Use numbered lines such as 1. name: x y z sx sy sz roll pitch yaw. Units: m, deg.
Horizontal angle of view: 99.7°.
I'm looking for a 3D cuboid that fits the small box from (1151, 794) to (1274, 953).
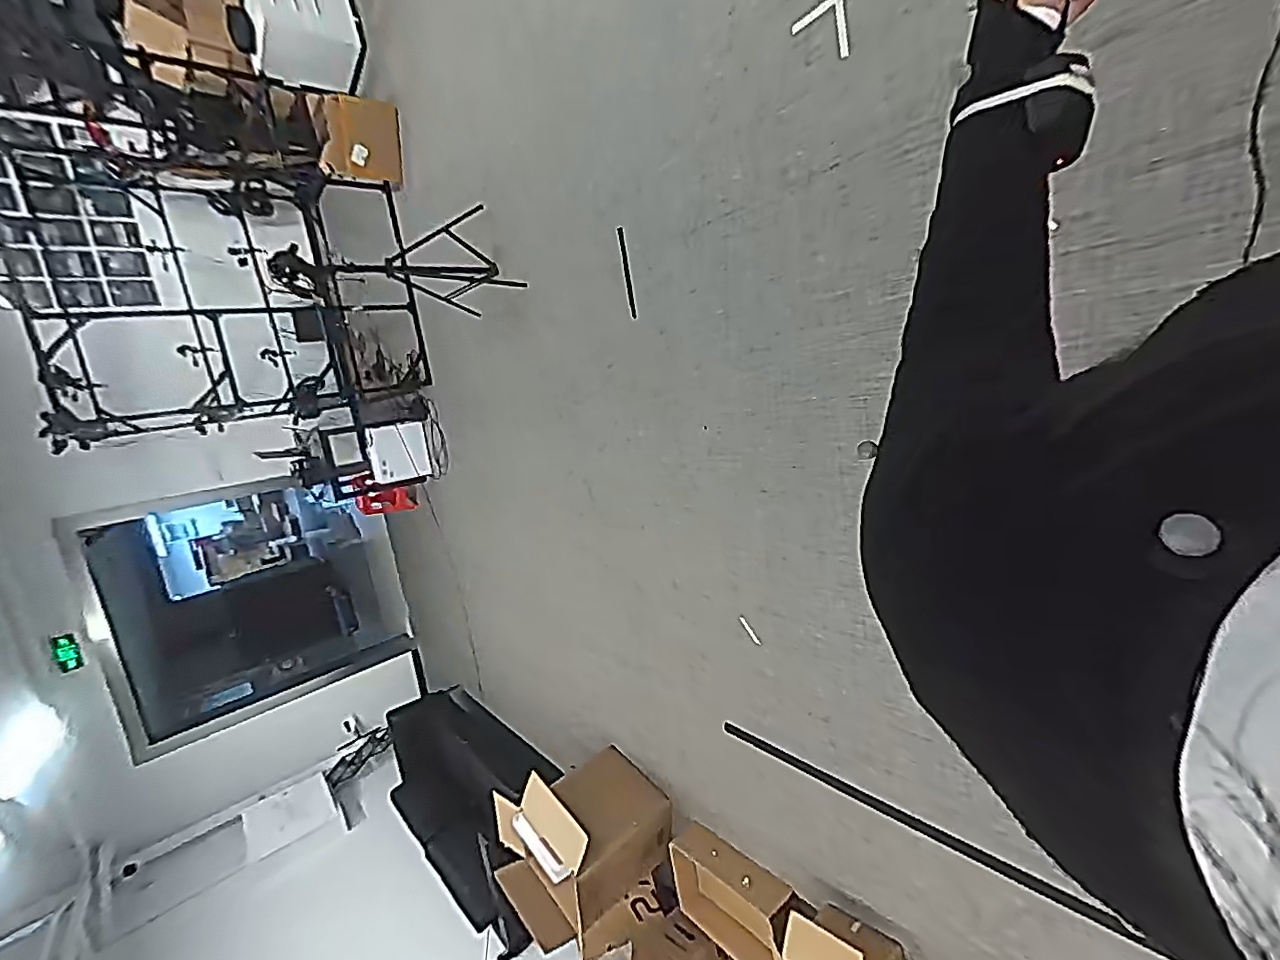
1. small box: 1.211 0.815 1.145 0.168 0.176 0.179 4 105 51
